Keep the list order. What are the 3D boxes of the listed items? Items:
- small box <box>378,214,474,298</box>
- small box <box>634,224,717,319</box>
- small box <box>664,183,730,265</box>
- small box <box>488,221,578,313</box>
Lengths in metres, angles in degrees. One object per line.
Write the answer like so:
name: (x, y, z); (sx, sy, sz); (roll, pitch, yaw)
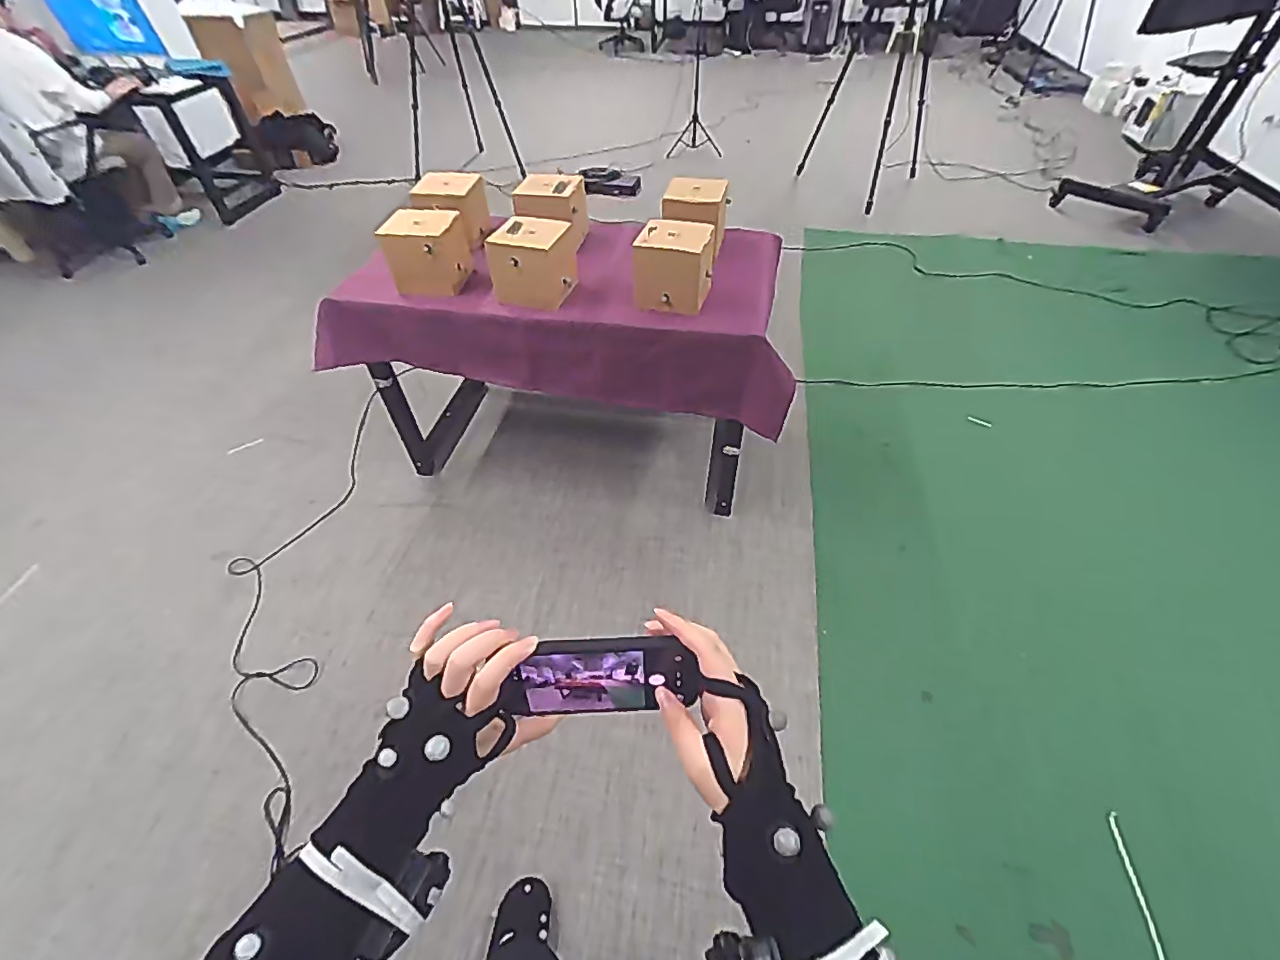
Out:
small box: (-0.582, -0.619, 1.498); (0.179, 0.176, 0.168); (4, 47, 3)
small box: (0.092, -0.543, 1.417); (0.179, 0.176, 0.168); (13, 48, 12)
small box: (0.167, -0.768, 1.623); (0.168, 0.176, 0.179); (10, 49, 11)
small box: (-0.277, -0.568, 1.445); (0.179, 0.176, 0.168); (13, 49, 11)
